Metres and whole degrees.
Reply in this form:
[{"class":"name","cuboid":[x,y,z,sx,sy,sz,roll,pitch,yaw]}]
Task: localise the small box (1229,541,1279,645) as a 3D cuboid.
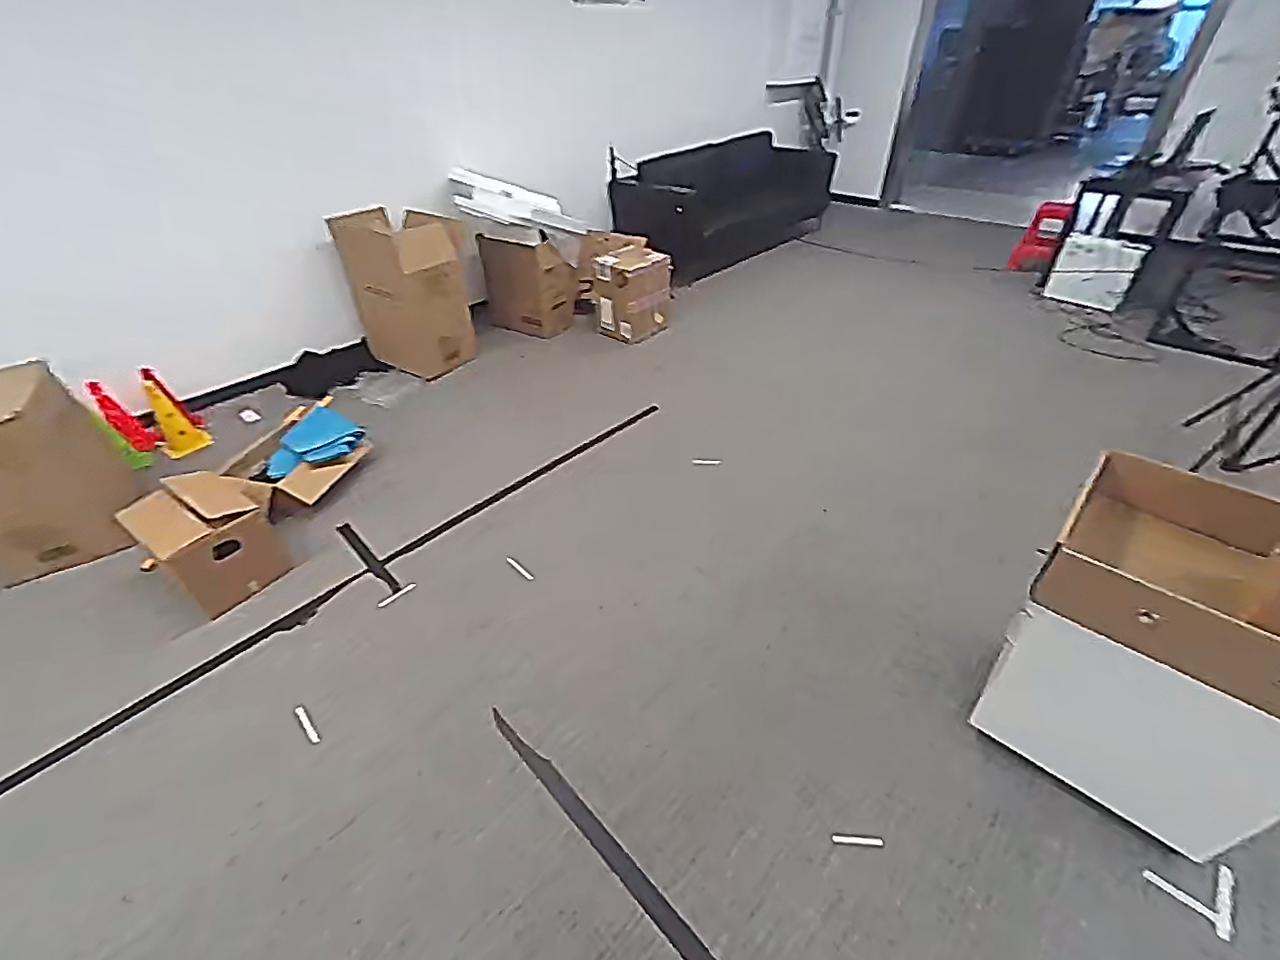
[{"class":"small box","cuboid":[1.276,0.220,1.008,0.179,0.176,0.168,28,53,35]}]
